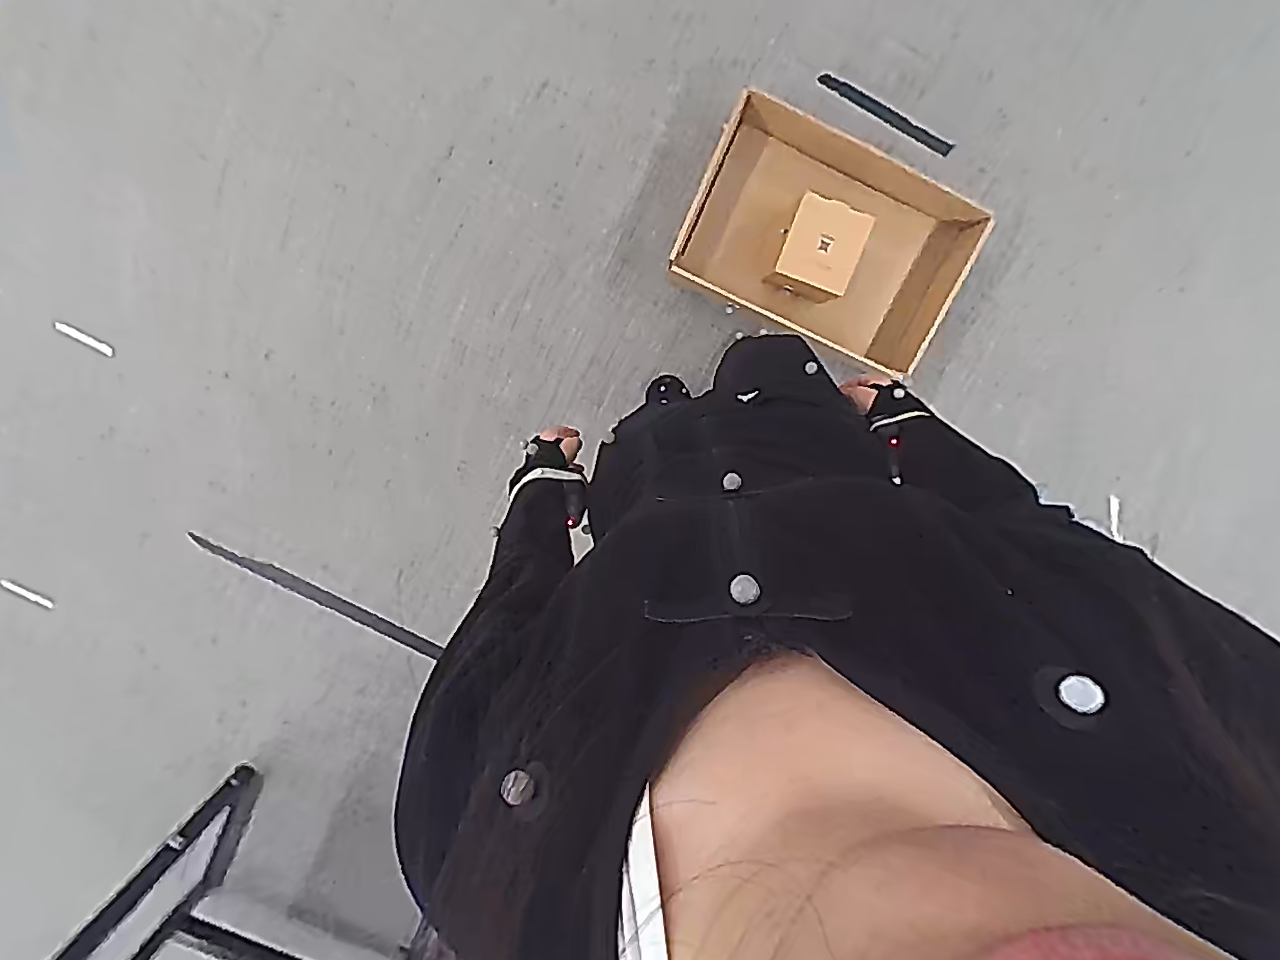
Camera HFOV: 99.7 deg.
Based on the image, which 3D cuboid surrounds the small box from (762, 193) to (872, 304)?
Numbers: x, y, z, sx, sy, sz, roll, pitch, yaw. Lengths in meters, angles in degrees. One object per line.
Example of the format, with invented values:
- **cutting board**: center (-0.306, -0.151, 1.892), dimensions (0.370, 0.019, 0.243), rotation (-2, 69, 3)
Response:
- **small box**: center (0.398, -0.526, 1.254), dimensions (0.168, 0.176, 0.179), rotation (19, 103, -3)
